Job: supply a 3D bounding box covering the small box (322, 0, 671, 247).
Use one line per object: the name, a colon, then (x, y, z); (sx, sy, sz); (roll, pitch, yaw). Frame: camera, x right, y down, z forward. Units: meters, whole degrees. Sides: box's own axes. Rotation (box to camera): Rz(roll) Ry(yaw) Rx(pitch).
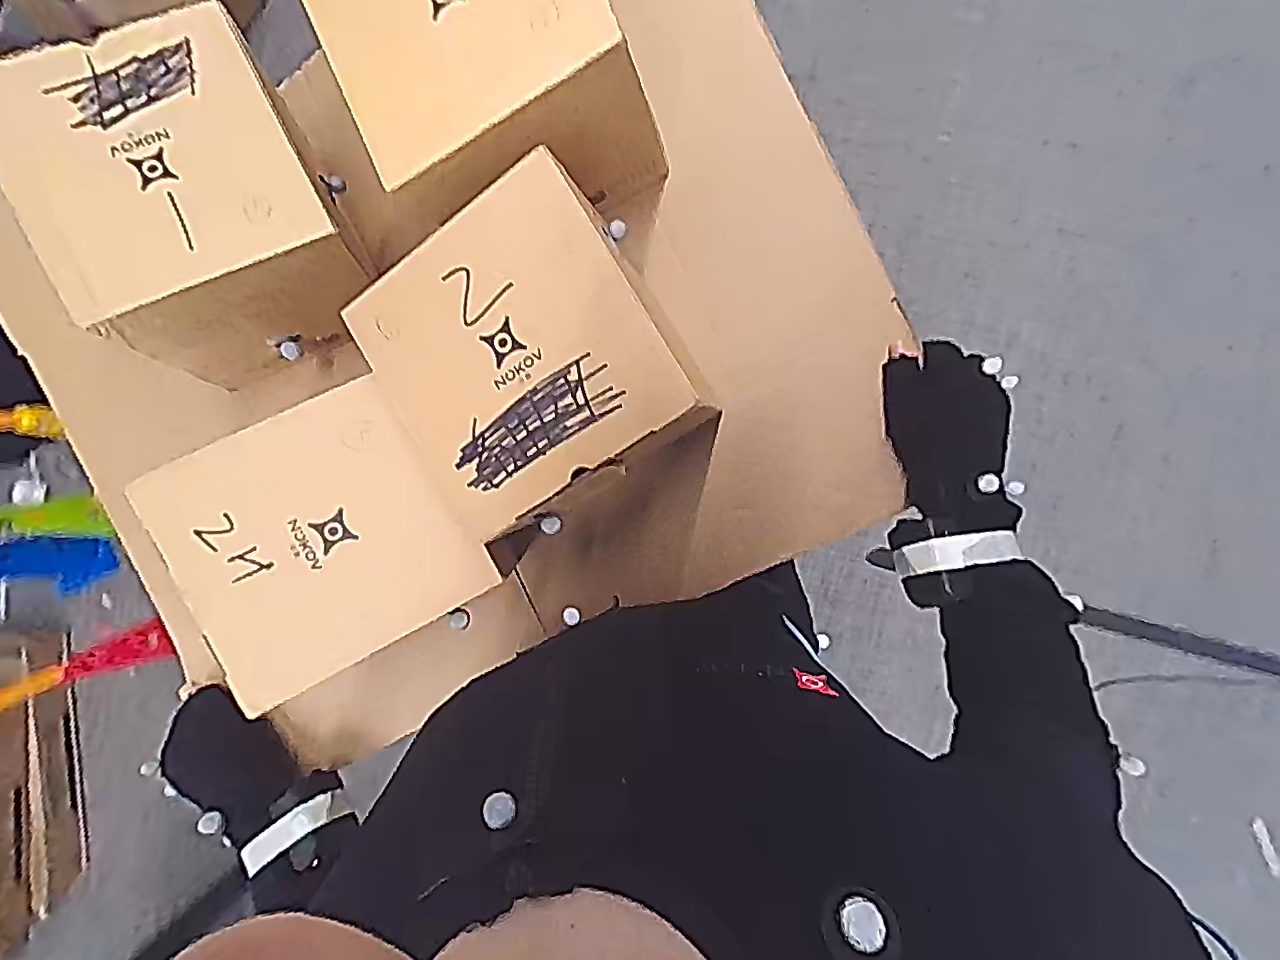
small box: (-0.089, -0.295, 0.391); (0.168, 0.176, 0.179); (-23, 89, 13)
